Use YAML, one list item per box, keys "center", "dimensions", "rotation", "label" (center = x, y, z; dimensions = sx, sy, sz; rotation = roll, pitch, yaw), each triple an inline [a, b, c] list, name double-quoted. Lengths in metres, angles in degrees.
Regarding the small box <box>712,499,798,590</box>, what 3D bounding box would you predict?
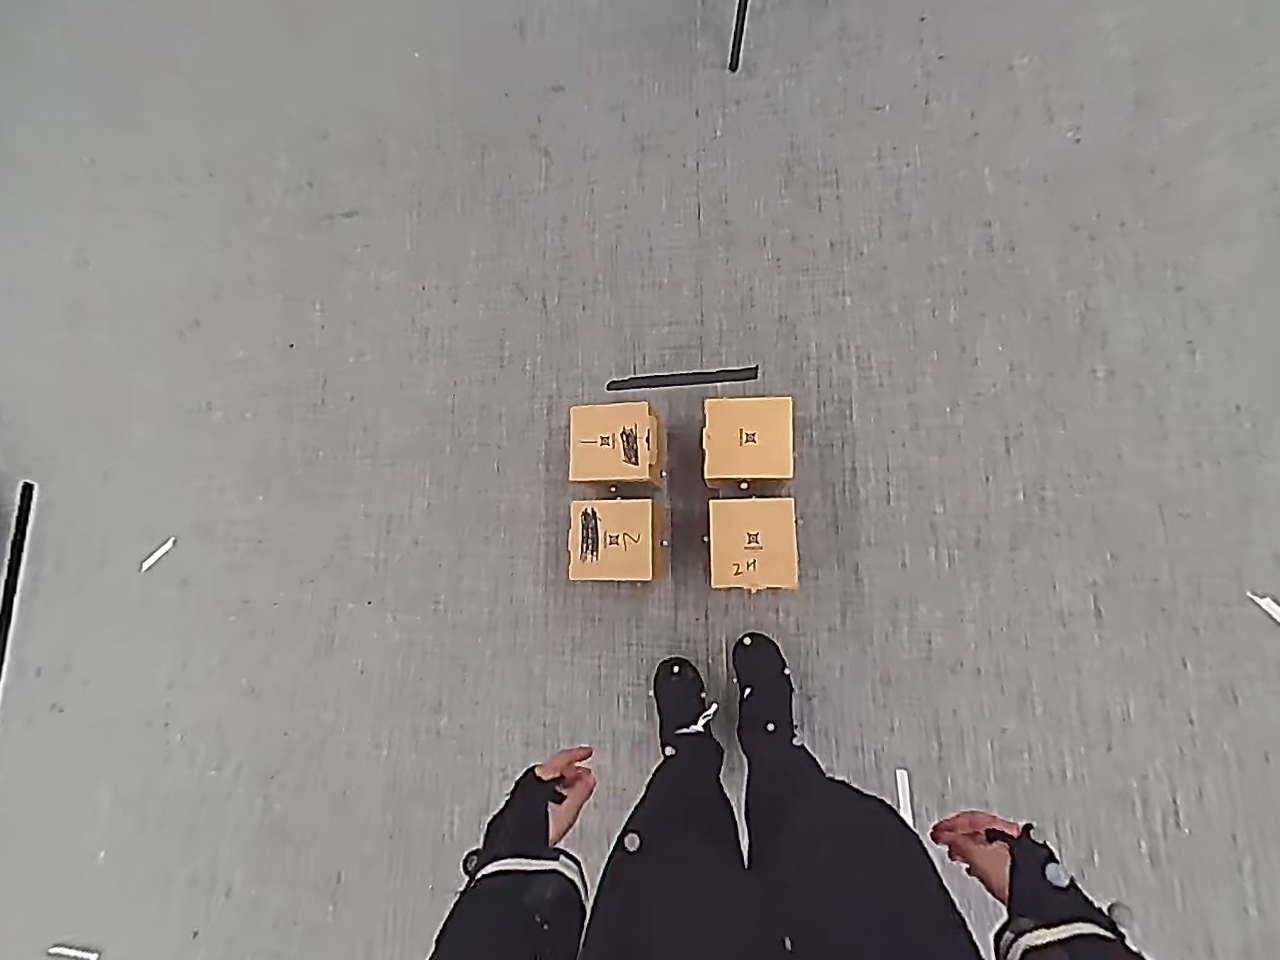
- center: [0.237, 0.137, 1.133]
  dimensions: [0.168, 0.176, 0.179]
  rotation: [-2, 82, 11]
  label: "small box"
